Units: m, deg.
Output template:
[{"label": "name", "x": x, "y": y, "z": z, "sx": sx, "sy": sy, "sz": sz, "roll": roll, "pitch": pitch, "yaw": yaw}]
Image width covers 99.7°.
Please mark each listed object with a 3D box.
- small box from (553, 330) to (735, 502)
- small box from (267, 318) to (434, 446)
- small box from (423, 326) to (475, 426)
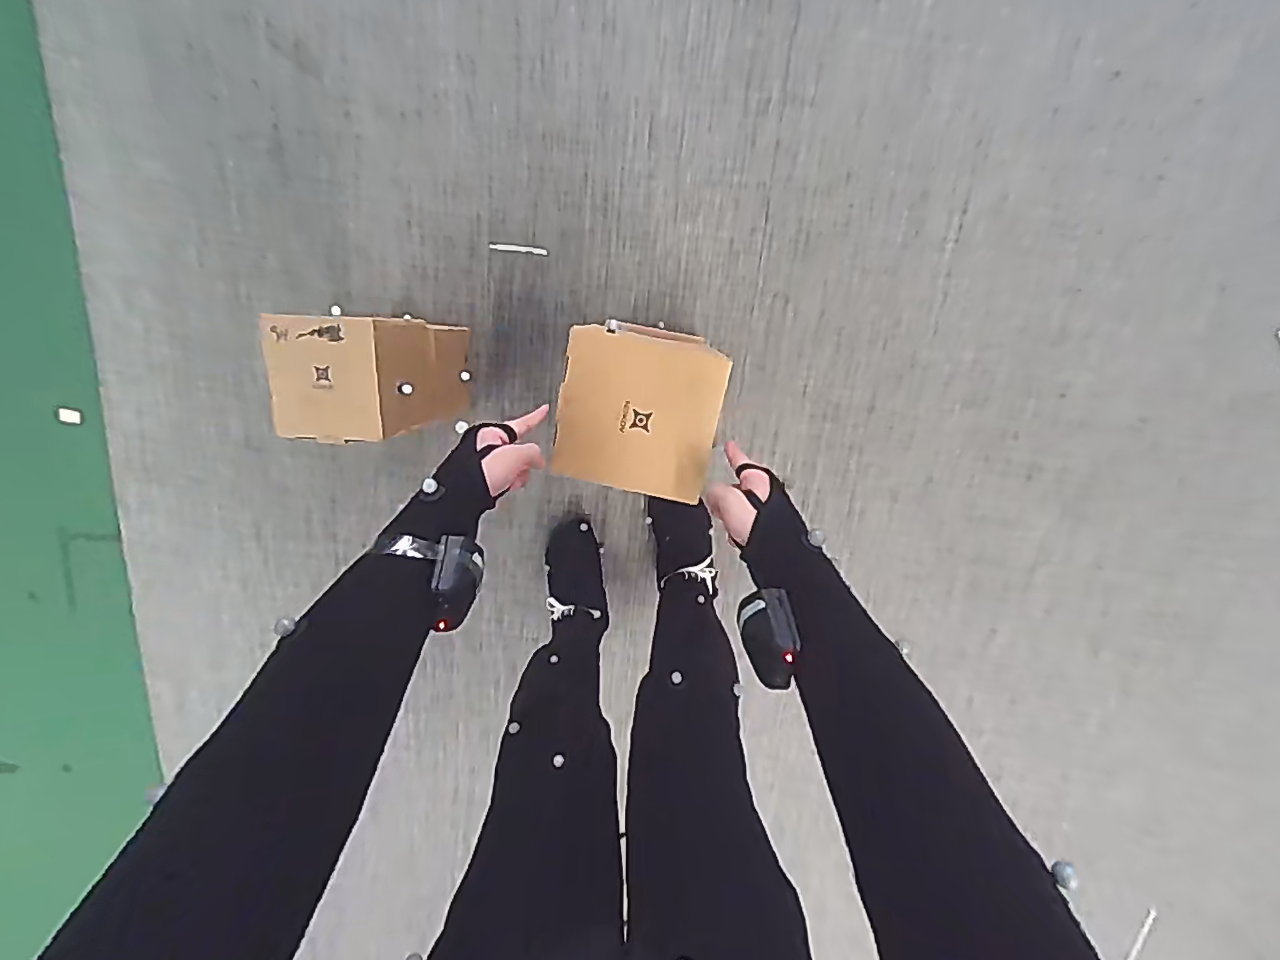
[{"label": "small box", "x": 0.005, "y": -0.089, "z": 0.672, "sx": 0.179, "sy": 0.176, "sz": 0.168, "roll": 12, "pitch": 106, "yaw": 0}, {"label": "small box", "x": -0.437, "y": -0.160, "z": 0.848, "sx": 0.168, "sy": 0.176, "sz": 0.179, "roll": 3, "pitch": 105, "yaw": 2}, {"label": "small box", "x": -0.424, "y": -0.200, "z": 1.007, "sx": 0.179, "sy": 0.176, "sz": 0.168, "roll": 5, "pitch": 105, "yaw": 1}]
